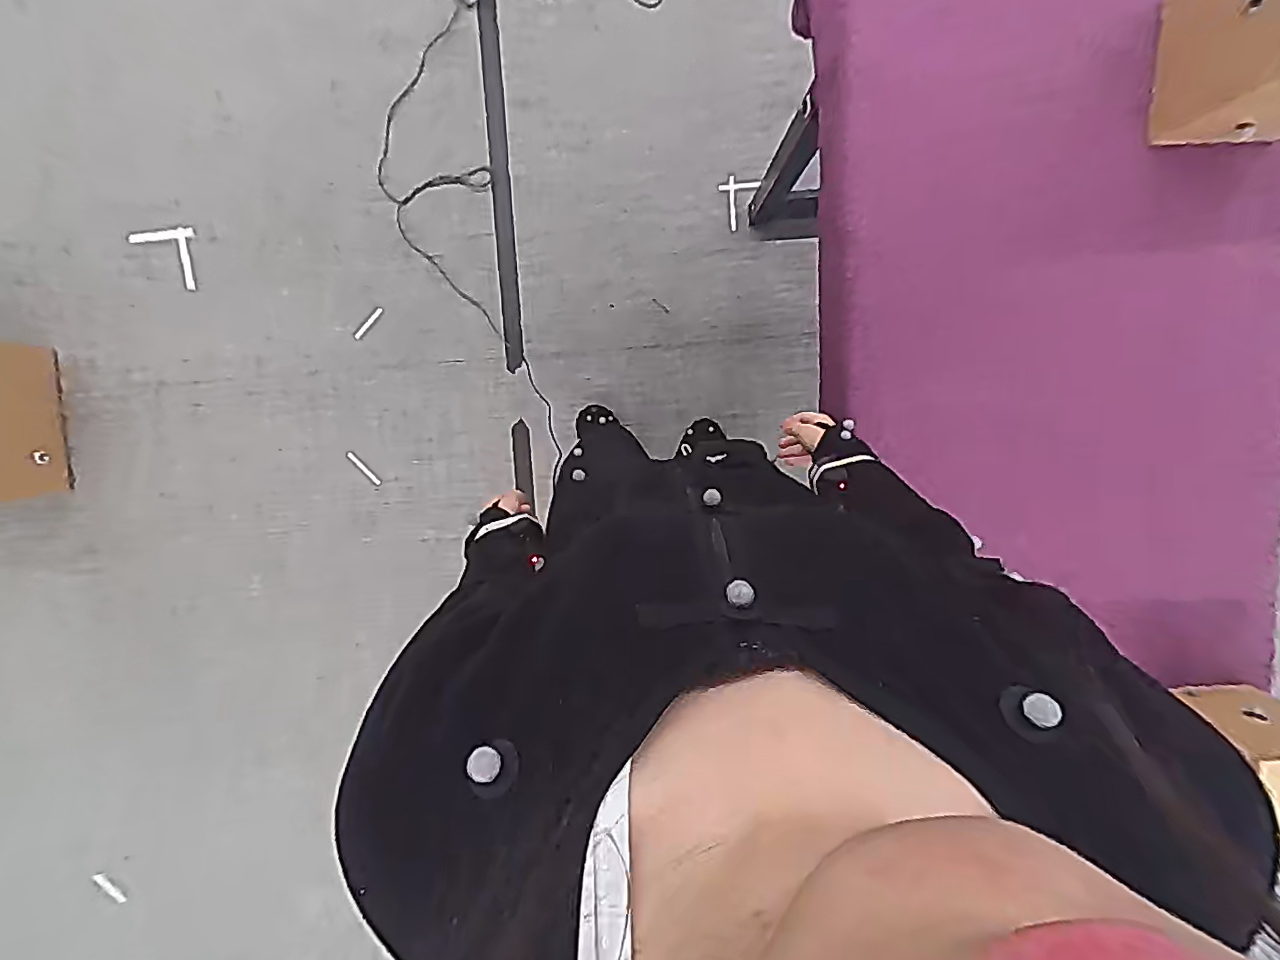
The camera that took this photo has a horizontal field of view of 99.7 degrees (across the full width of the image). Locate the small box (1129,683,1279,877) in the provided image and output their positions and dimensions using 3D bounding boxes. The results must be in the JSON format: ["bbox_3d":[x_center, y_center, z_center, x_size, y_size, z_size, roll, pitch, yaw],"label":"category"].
[{"bbox_3d":[0.822,0.392,0.736,0.168,0.176,0.179,-3,98,1],"label":"small box"}]

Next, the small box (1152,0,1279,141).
[{"bbox_3d":[0.743,-0.520,0.615,0.168,0.176,0.179,-1,99,2],"label":"small box"}]
